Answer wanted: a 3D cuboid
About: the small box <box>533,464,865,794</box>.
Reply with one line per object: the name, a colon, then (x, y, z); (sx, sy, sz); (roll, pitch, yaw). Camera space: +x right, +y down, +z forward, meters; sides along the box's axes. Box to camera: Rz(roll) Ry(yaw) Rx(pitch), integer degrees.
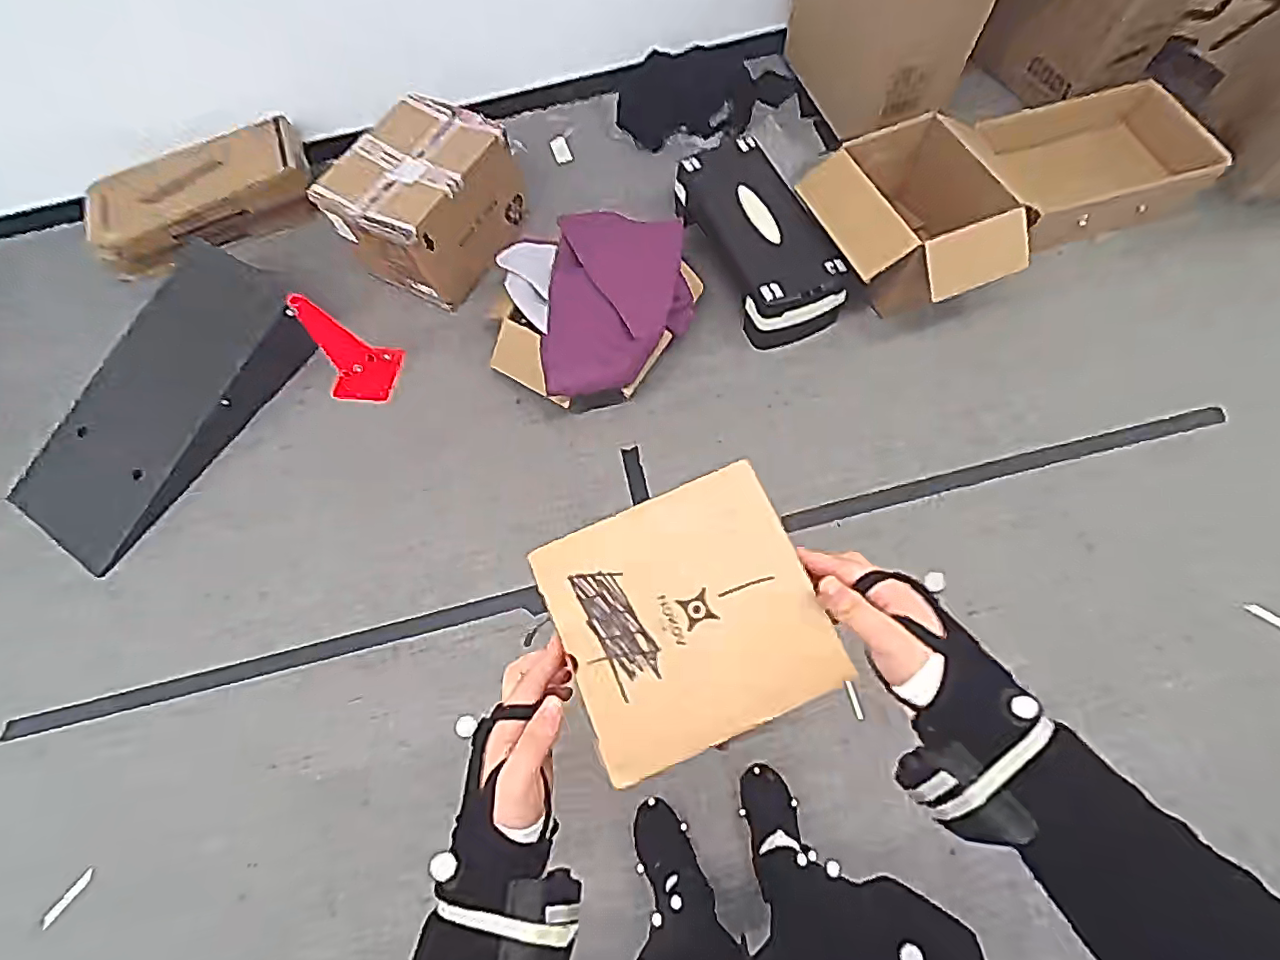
small box: (0.040, 0.111, 0.435); (0.179, 0.176, 0.168); (-24, 77, -2)
